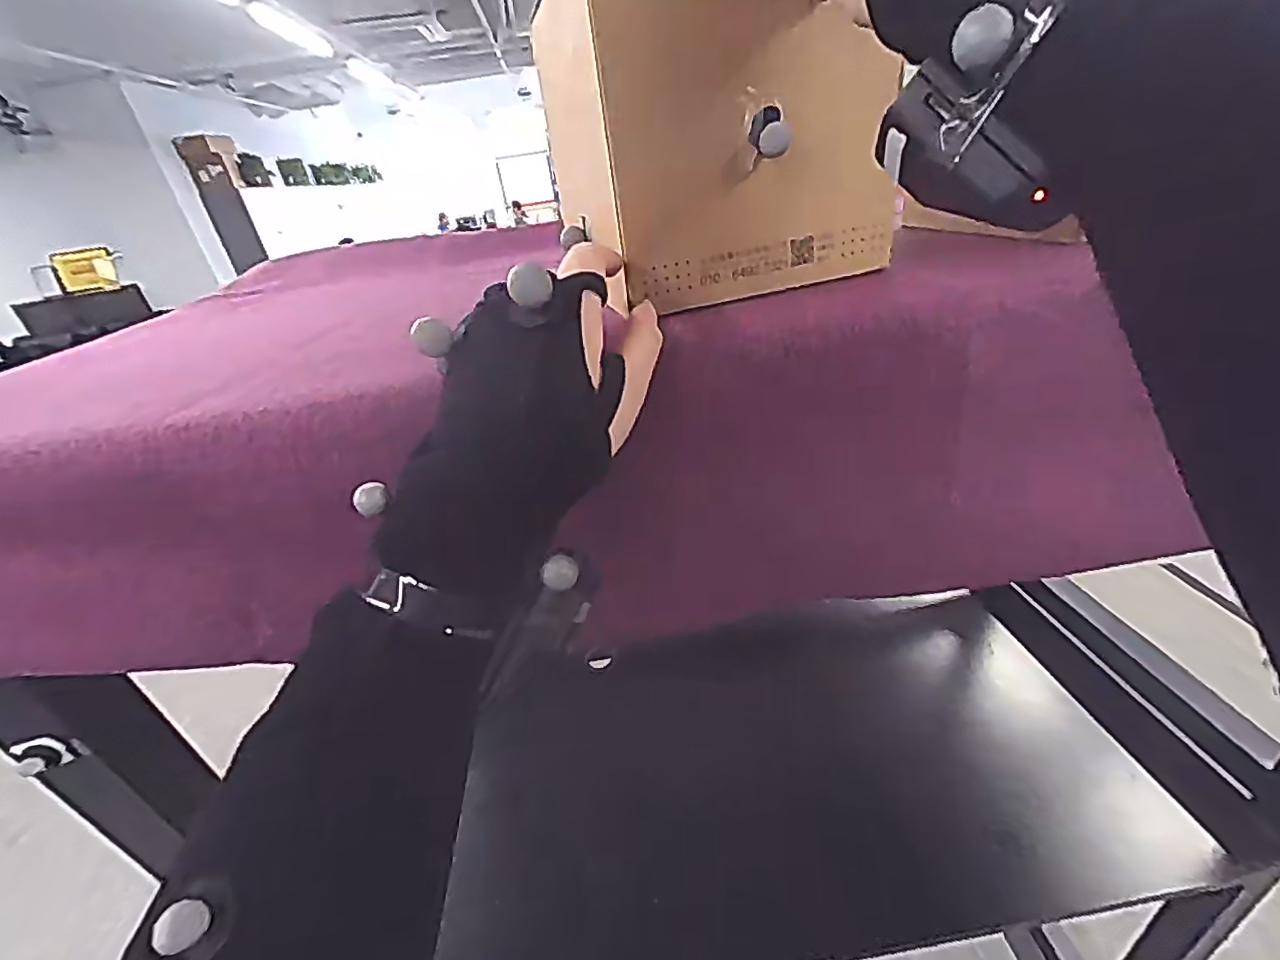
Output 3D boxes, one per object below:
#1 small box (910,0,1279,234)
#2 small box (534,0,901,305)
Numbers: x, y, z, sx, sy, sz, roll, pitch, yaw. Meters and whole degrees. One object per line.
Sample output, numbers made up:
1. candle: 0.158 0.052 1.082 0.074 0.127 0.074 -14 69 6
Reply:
1. small box: 0.308 -0.266 0.357 0.168 0.176 0.179 -12 29 -6
2. small box: 0.041 -0.216 0.339 0.168 0.176 0.179 -15 30 -10
